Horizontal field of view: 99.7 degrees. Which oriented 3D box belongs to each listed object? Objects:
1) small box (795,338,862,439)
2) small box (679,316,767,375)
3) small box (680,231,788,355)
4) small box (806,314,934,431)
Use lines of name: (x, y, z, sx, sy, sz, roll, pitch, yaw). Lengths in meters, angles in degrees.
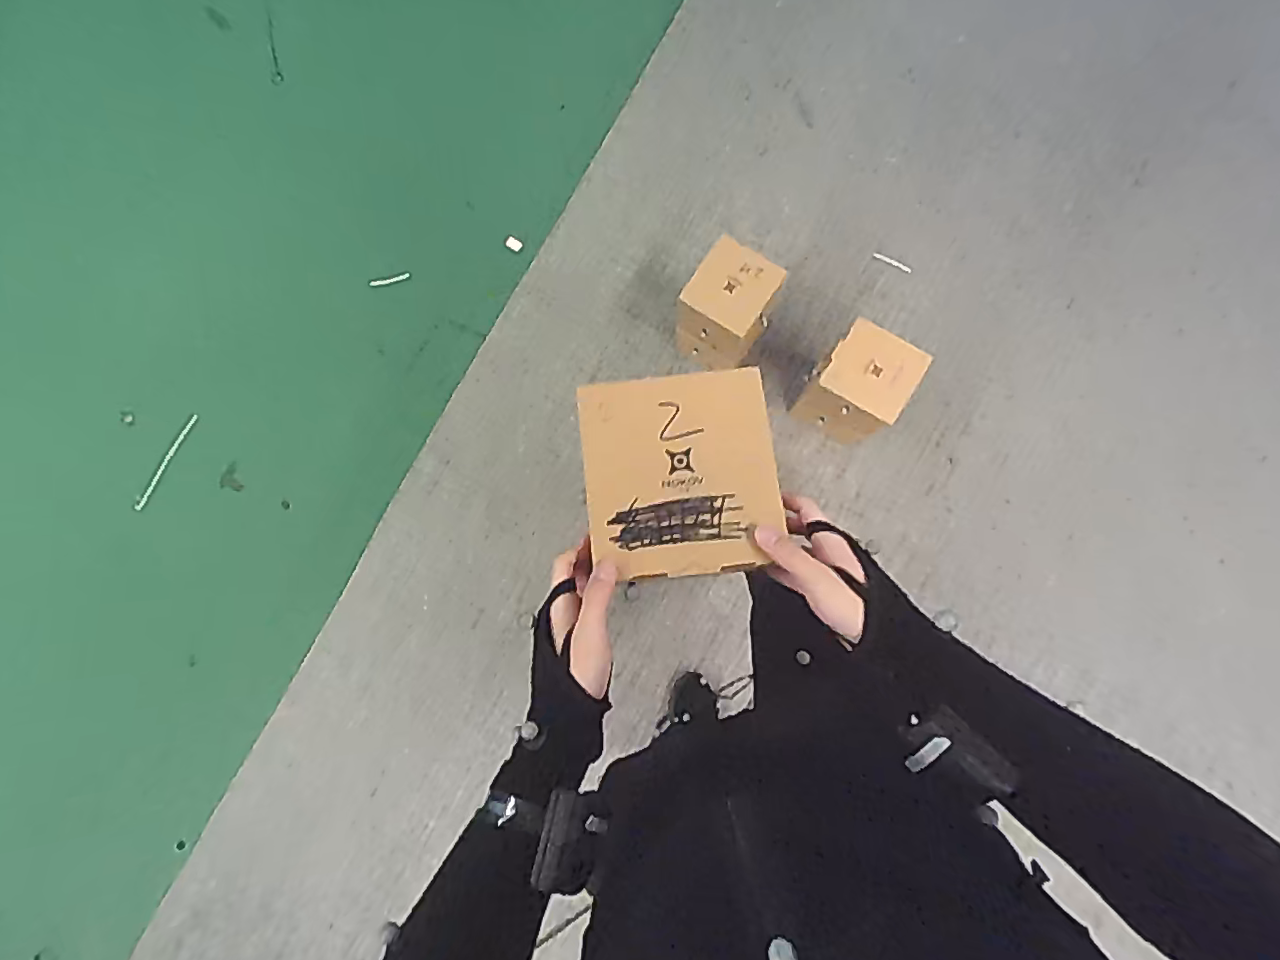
small box: (0.508, -0.218, 1.345, 0.179, 0.176, 0.168, 31, 88, 7)
small box: (0.217, -0.397, 1.388, 0.168, 0.176, 0.179, 33, 87, 7)
small box: (0.207, -0.411, 1.223, 0.168, 0.176, 0.179, 35, 89, 6)
small box: (0.489, -0.224, 1.182, 0.179, 0.176, 0.168, 32, 89, 7)
